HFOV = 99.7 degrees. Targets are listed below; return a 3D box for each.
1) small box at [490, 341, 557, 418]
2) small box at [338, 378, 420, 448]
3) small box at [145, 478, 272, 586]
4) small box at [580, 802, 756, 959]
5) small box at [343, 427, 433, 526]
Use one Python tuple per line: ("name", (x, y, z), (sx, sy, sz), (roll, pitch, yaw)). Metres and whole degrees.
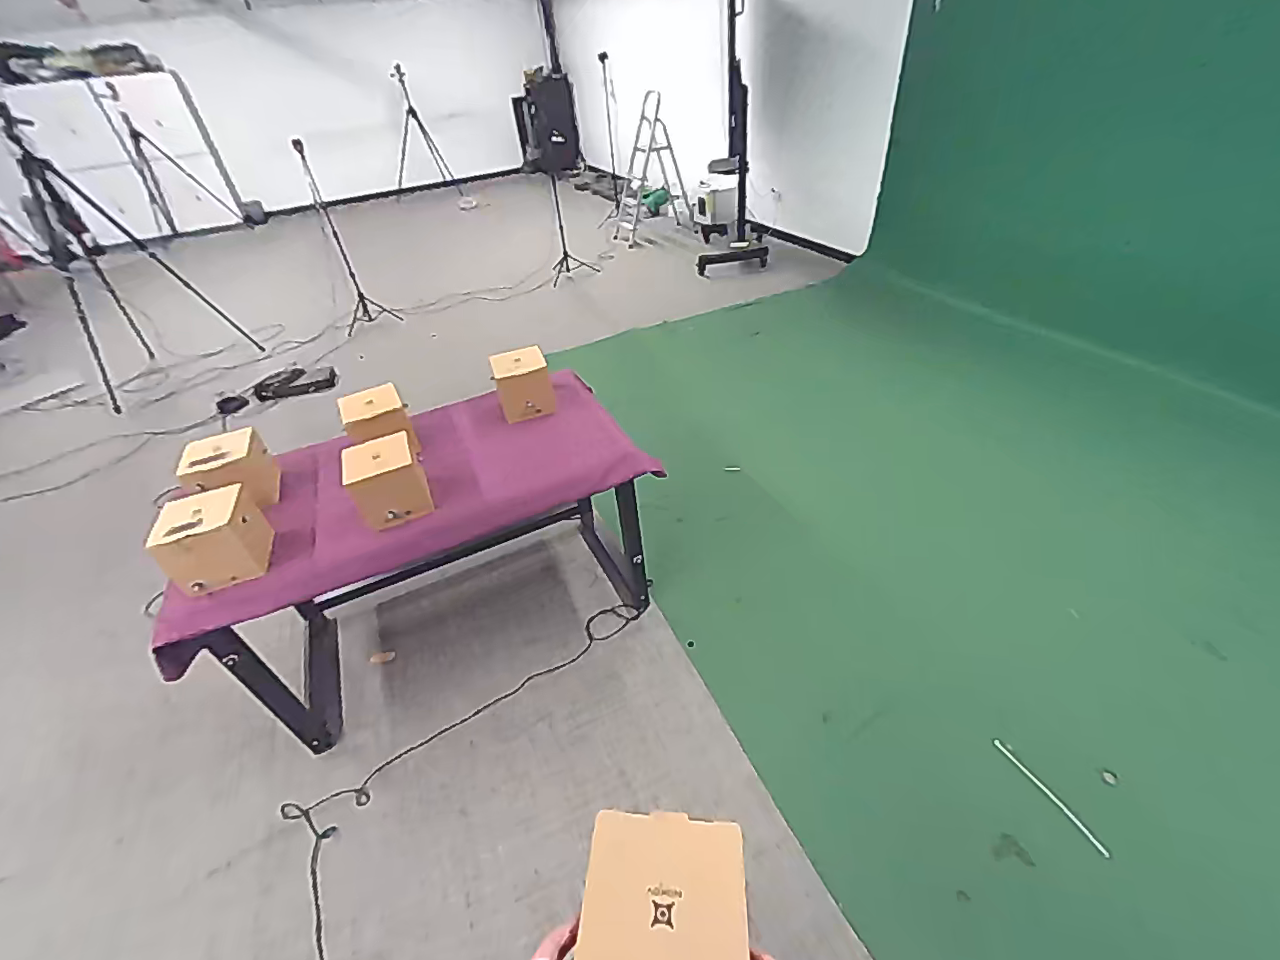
("small box", (-0.380, -0.328, 1.764), (0.168, 0.176, 0.179), (-17, 41, -11))
("small box", (-0.790, -0.181, 1.642), (0.168, 0.176, 0.179), (-23, 44, -20))
("small box", (-1.013, 0.129, 1.291), (0.168, 0.176, 0.179), (-18, 39, -15))
("small box", (0.031, 0.489, 0.584), (0.168, 0.176, 0.179), (3, 31, 5))
("small box", (-0.659, -0.009, 1.417), (0.168, 0.176, 0.179), (-21, 41, -15))
